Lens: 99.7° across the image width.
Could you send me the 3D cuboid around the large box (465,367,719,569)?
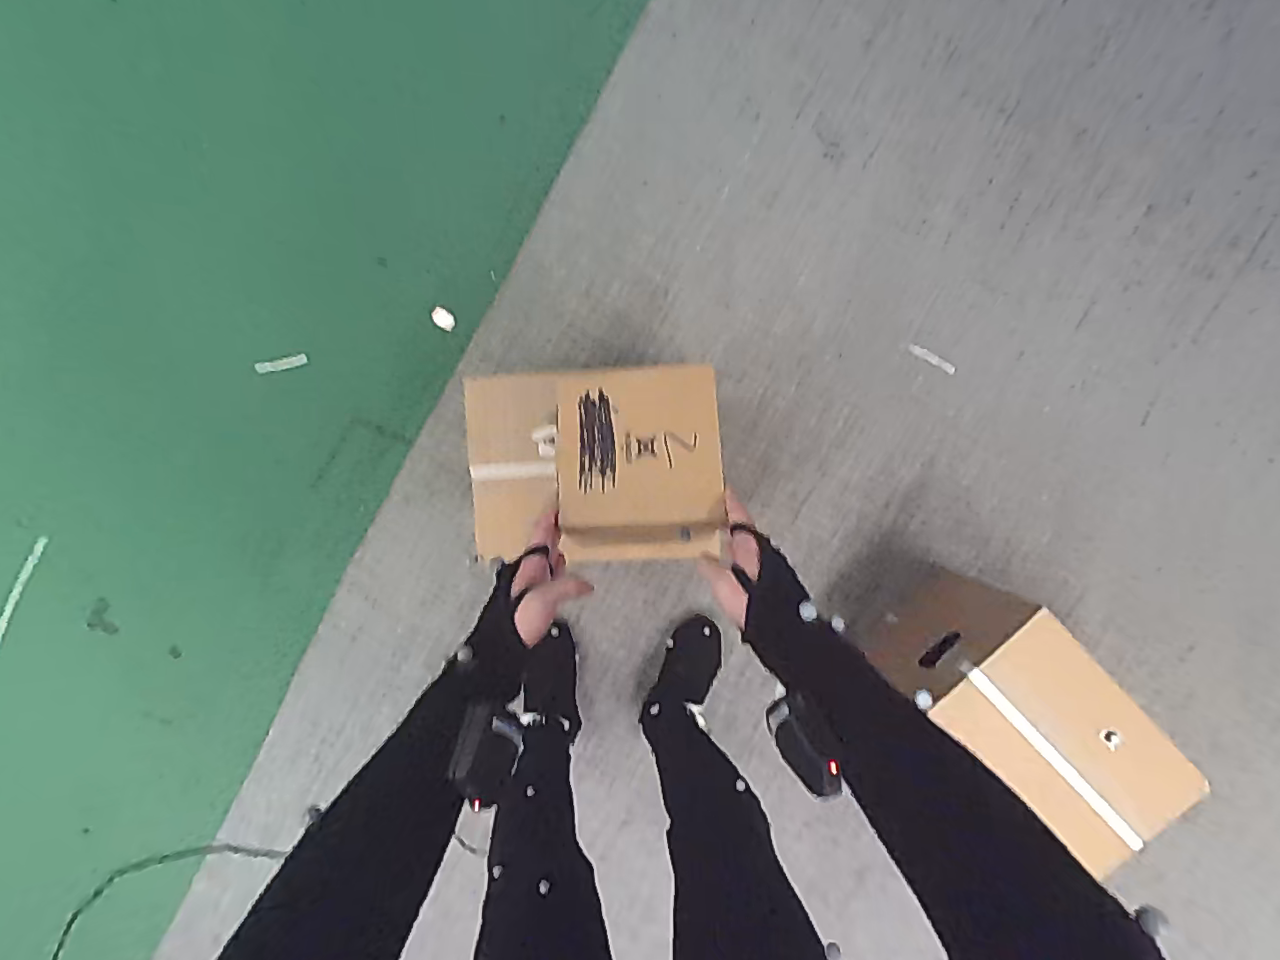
[{"bbox_3d":[-0.071,-0.026,1.026,0.408,0.320,0.320,-3,93,3],"label":"large box"}]
